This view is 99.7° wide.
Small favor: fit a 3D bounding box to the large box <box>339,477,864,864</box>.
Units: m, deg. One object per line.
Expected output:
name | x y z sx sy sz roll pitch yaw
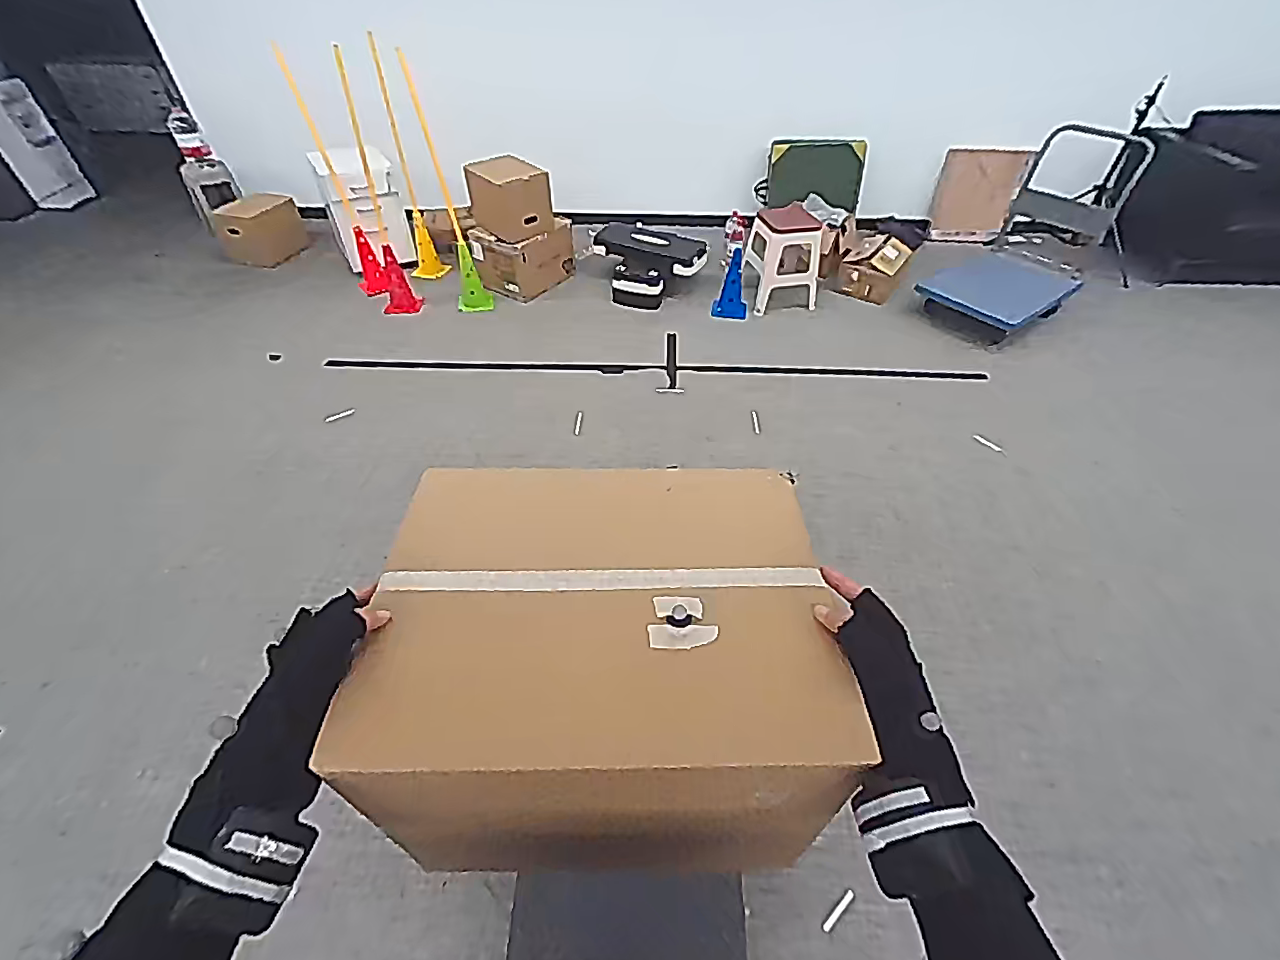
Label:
large box | -0.034 0.209 0.611 0.408 0.320 0.320 0 43 -1
